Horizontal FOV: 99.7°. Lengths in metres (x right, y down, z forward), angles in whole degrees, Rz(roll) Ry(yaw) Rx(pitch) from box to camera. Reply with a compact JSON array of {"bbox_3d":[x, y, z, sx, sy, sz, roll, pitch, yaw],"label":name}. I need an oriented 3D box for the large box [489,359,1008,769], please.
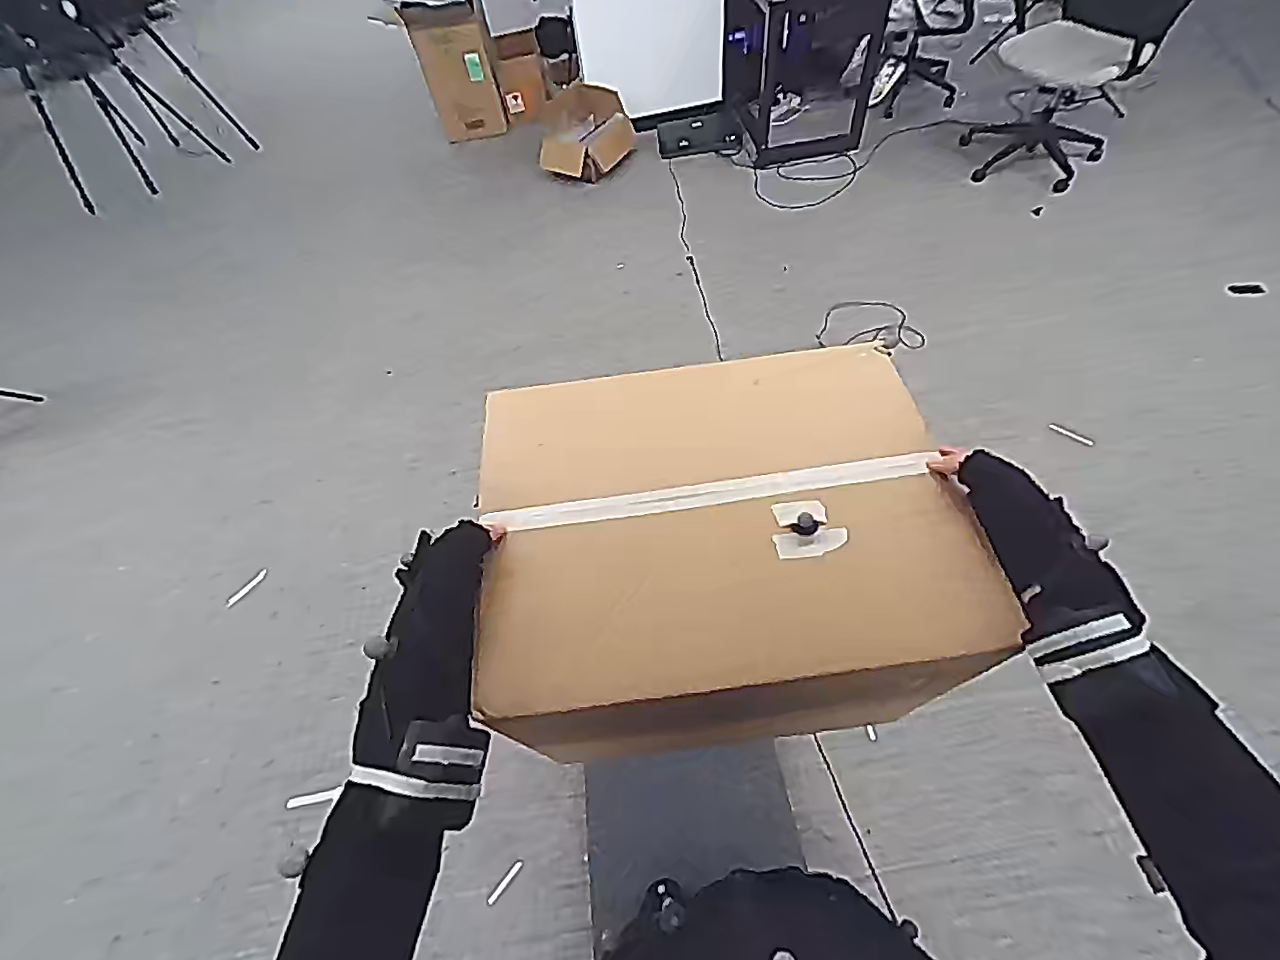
[{"bbox_3d":[0.073,0.108,0.606,0.408,0.320,0.320,-8,57,-1],"label":"large box"}]
